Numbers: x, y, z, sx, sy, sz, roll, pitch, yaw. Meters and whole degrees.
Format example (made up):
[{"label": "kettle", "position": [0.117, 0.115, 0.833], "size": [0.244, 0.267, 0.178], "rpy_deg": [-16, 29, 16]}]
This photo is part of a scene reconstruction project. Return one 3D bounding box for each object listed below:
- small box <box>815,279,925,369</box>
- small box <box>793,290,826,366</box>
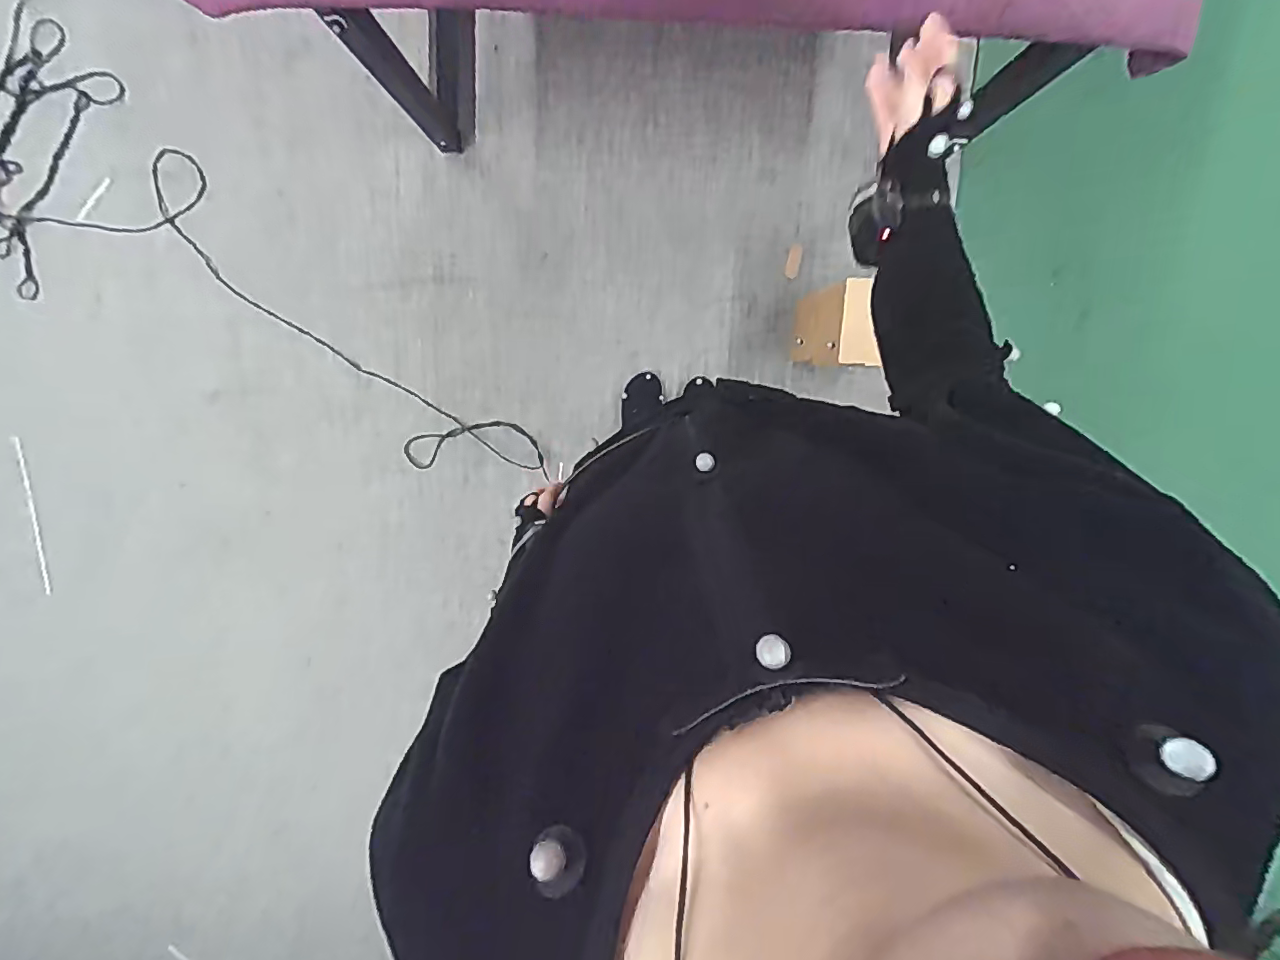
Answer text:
[{"label": "small box", "position": [0.500, -0.339, 1.199], "size": [0.168, 0.176, 0.179], "rpy_deg": [2, 102, 0]}, {"label": "small box", "position": [0.496, -0.372, 1.358], "size": [0.179, 0.176, 0.168], "rpy_deg": [5, 101, -1]}]
